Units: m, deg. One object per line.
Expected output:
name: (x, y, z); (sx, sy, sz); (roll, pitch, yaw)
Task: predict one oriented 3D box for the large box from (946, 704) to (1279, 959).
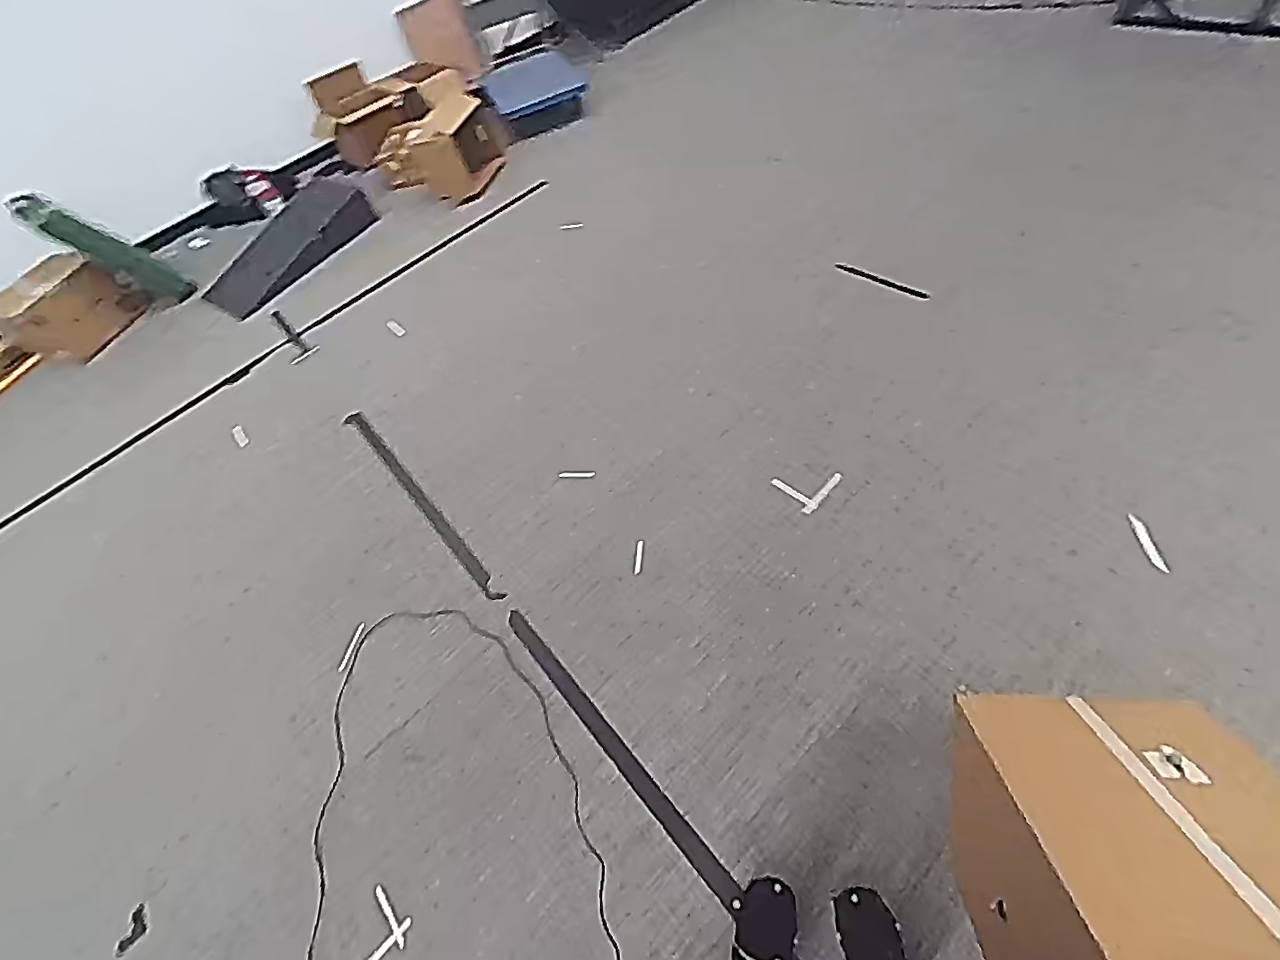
large box: (0.611, 0.533, 0.654); (0.320, 0.320, 0.408); (-1, 12, 11)
